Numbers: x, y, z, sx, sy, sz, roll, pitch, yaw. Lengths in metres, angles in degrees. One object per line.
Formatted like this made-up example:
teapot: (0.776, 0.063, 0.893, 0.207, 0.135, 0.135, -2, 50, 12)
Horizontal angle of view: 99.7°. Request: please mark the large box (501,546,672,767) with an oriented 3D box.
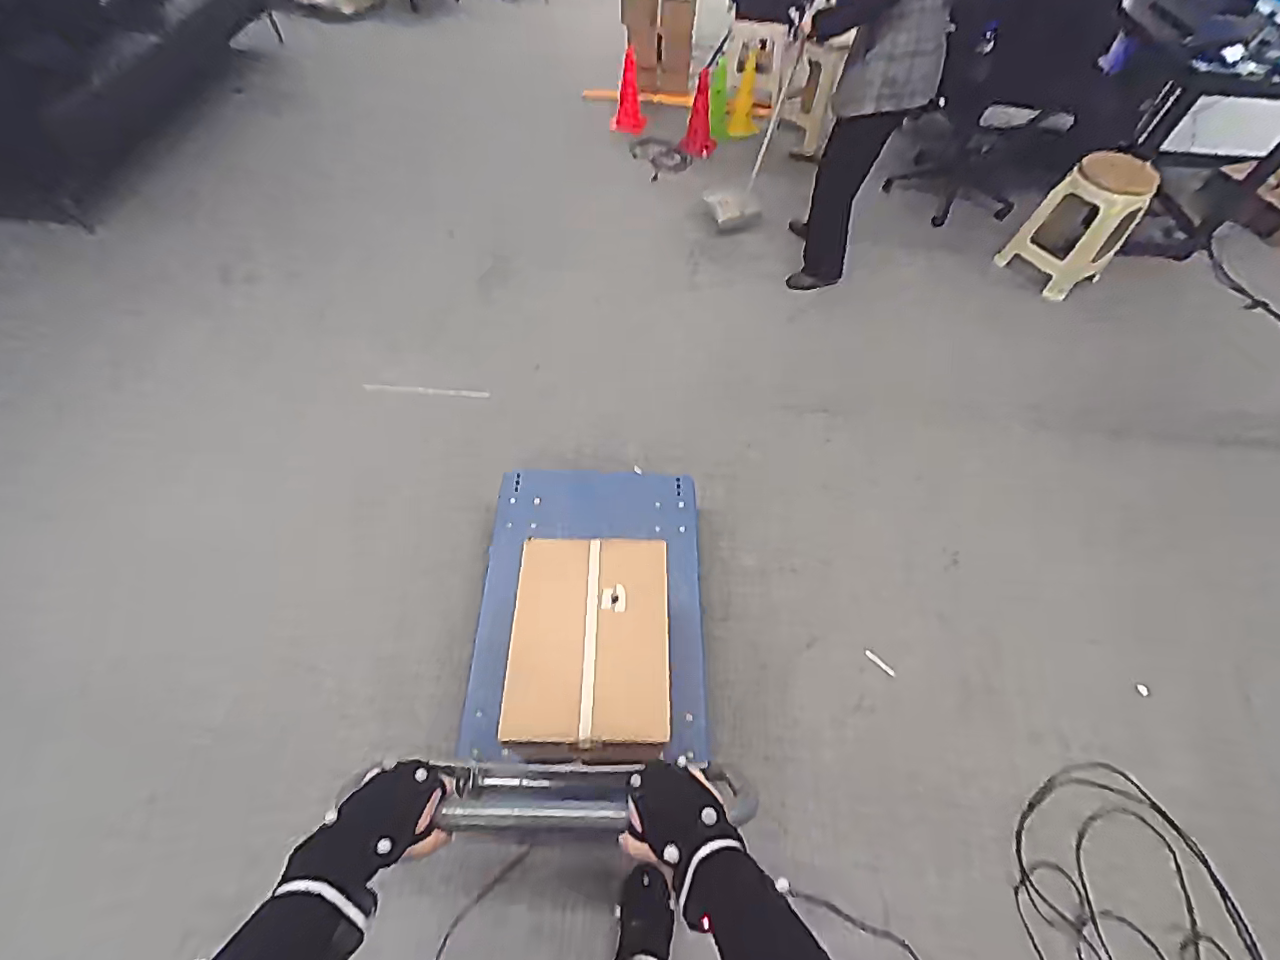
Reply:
large box: (-0.103, 0.397, 1.202, 0.320, 0.320, 0.408, 2, 56, -2)
